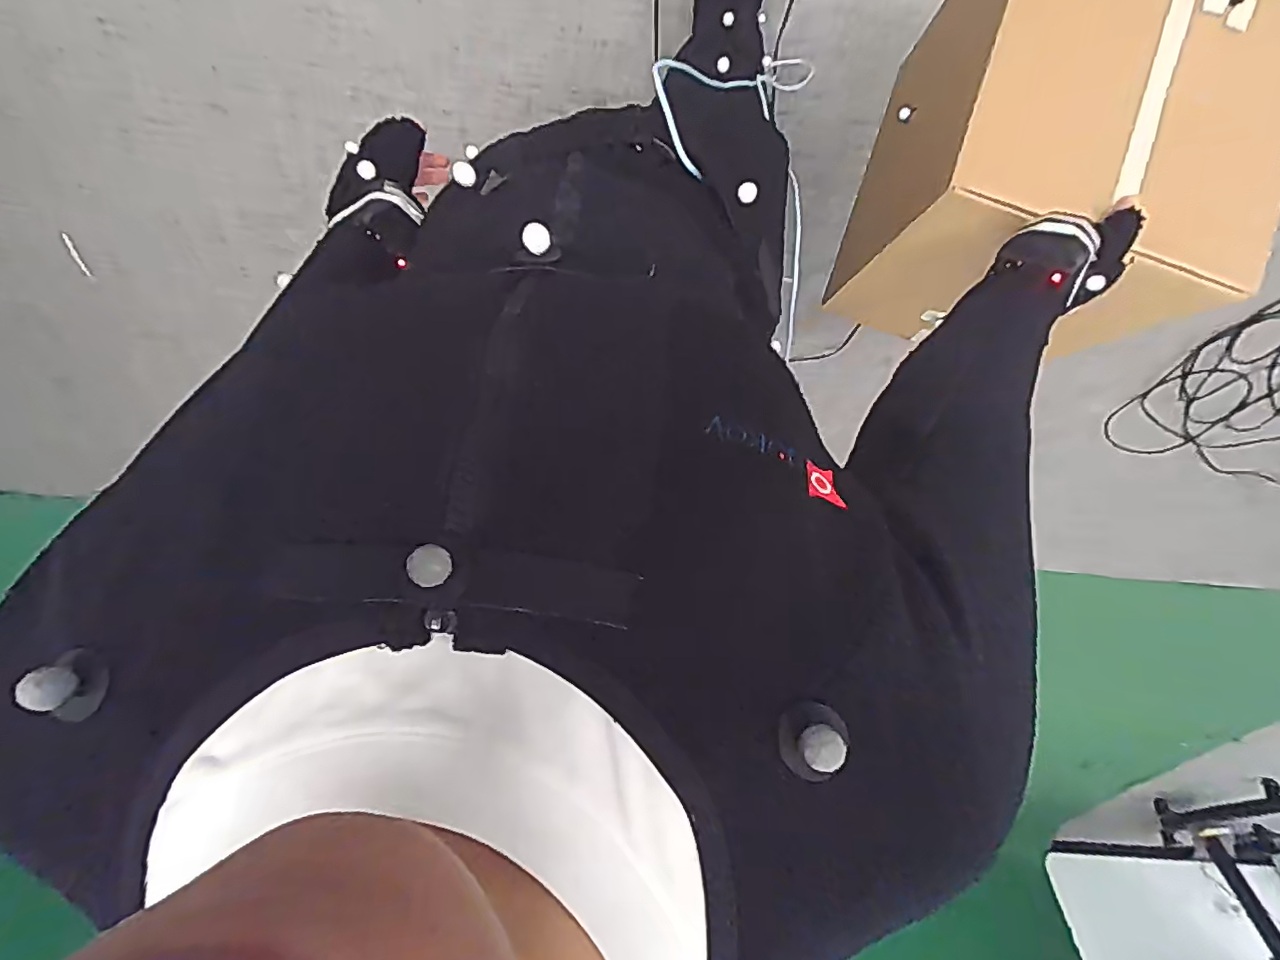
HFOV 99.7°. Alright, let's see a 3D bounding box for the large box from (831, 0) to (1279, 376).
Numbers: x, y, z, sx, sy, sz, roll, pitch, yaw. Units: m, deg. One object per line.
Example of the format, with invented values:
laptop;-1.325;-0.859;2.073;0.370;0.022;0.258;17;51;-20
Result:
large box;0.488;-0.393;0.677;0.320;0.408;0.320;19;176;-2
